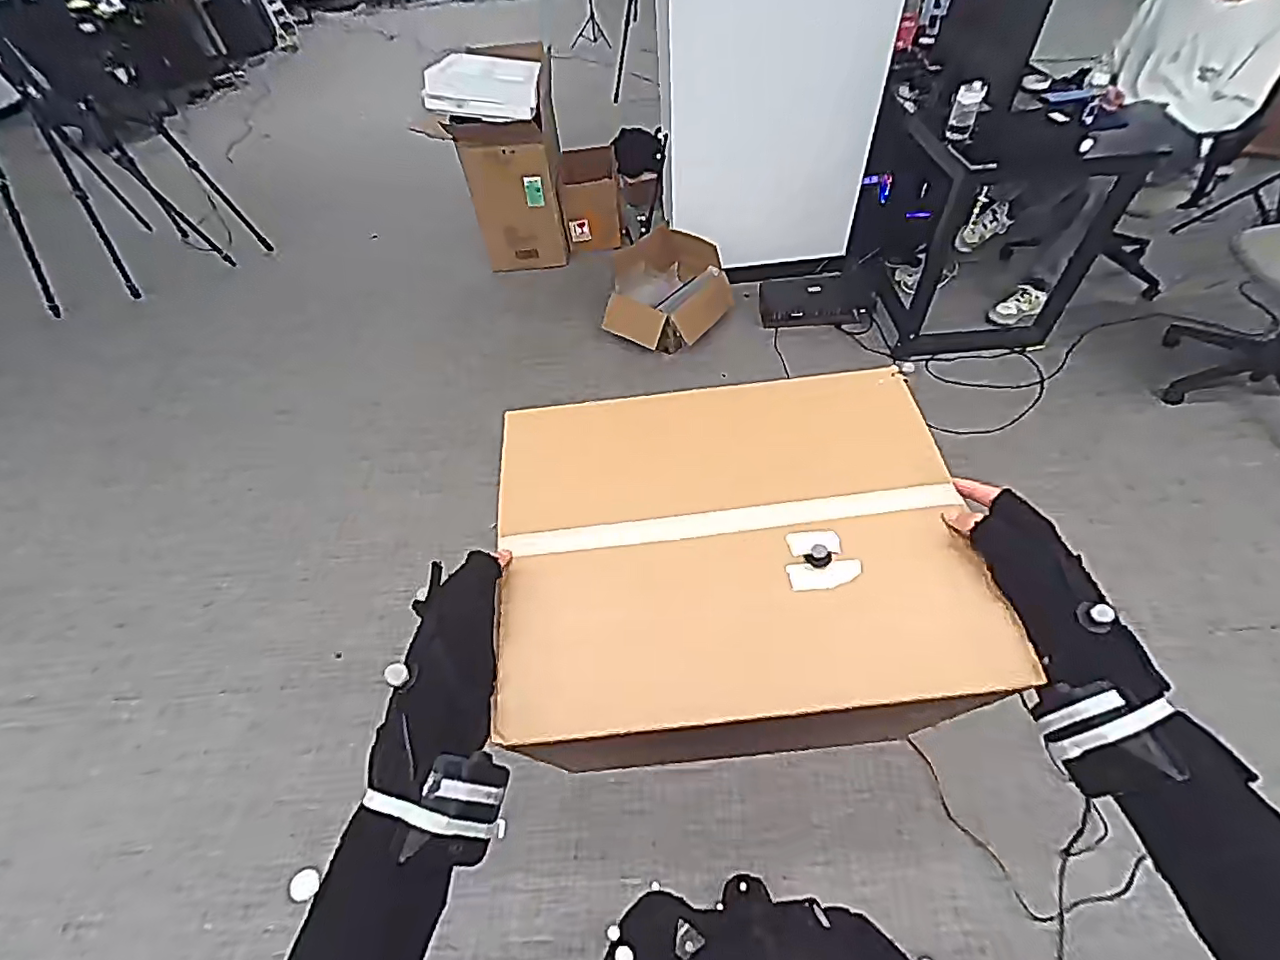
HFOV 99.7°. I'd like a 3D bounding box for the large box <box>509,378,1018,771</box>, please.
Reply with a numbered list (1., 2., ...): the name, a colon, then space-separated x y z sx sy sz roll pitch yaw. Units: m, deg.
1. large box: 0.088 0.123 0.616 0.408 0.320 0.320 -7 58 0
